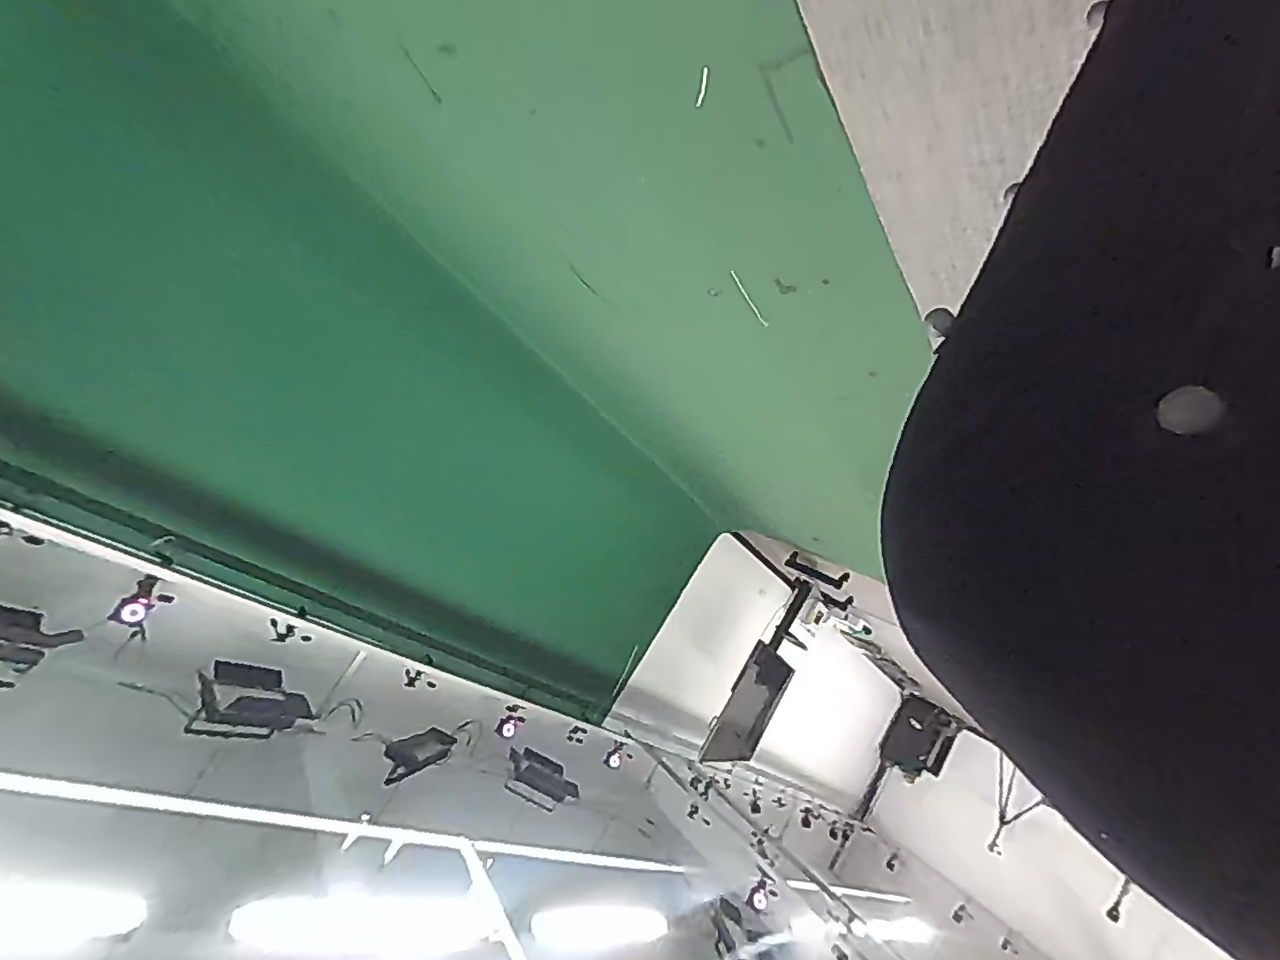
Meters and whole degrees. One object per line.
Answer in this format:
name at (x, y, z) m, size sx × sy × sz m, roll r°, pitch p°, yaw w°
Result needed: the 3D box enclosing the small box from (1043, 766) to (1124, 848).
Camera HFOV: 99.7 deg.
small box at (1.506, 1.102, 1.833) m, size 0.179 × 0.176 × 0.168 m, roll 41°, pitch 167°, yaw -37°
